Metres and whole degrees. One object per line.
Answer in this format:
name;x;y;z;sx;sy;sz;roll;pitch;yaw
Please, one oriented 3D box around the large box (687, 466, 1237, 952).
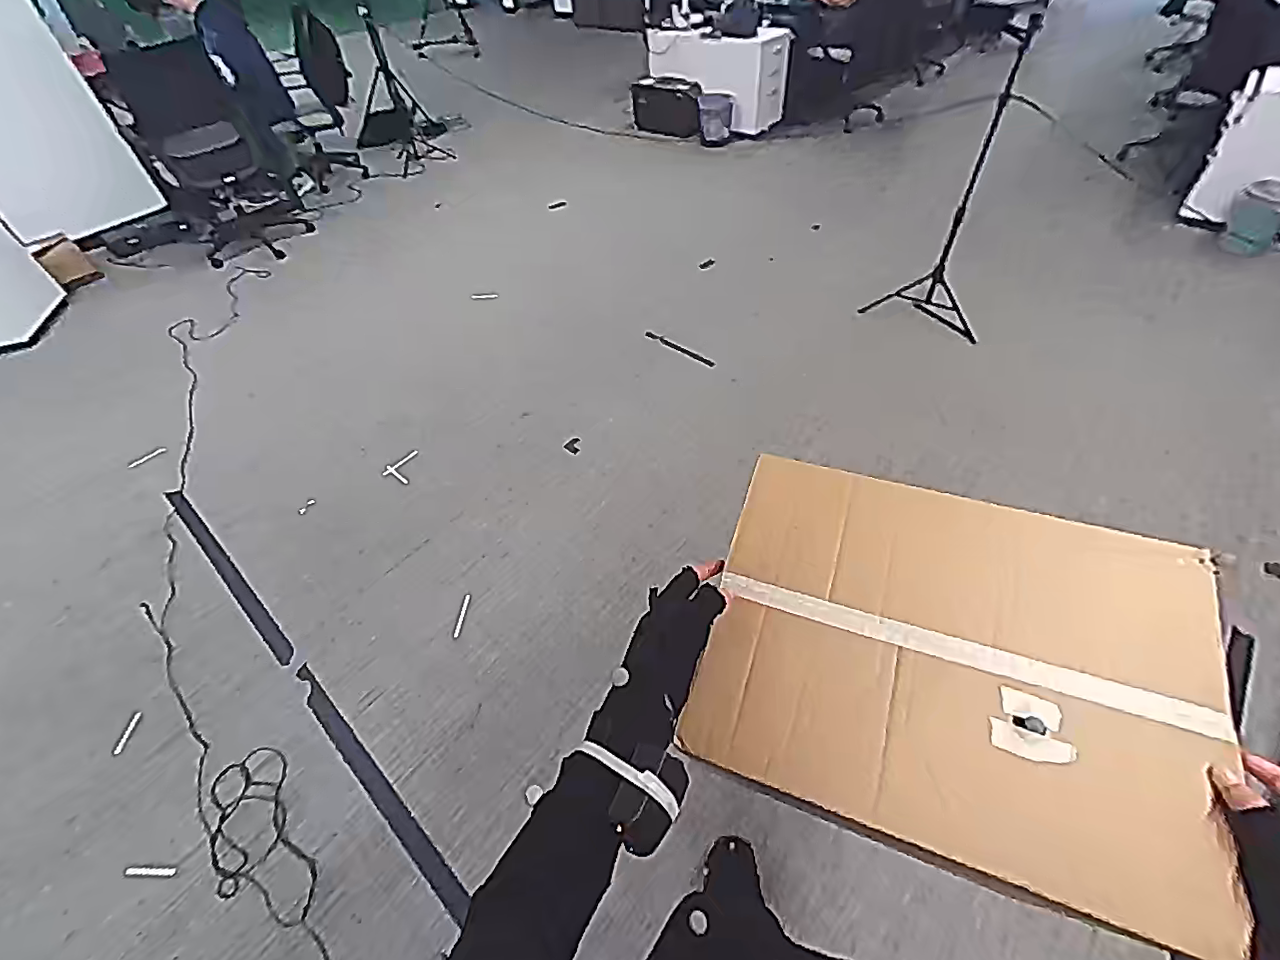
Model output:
large box;0.293;0.227;0.615;0.408;0.320;0.320;15;64;17
